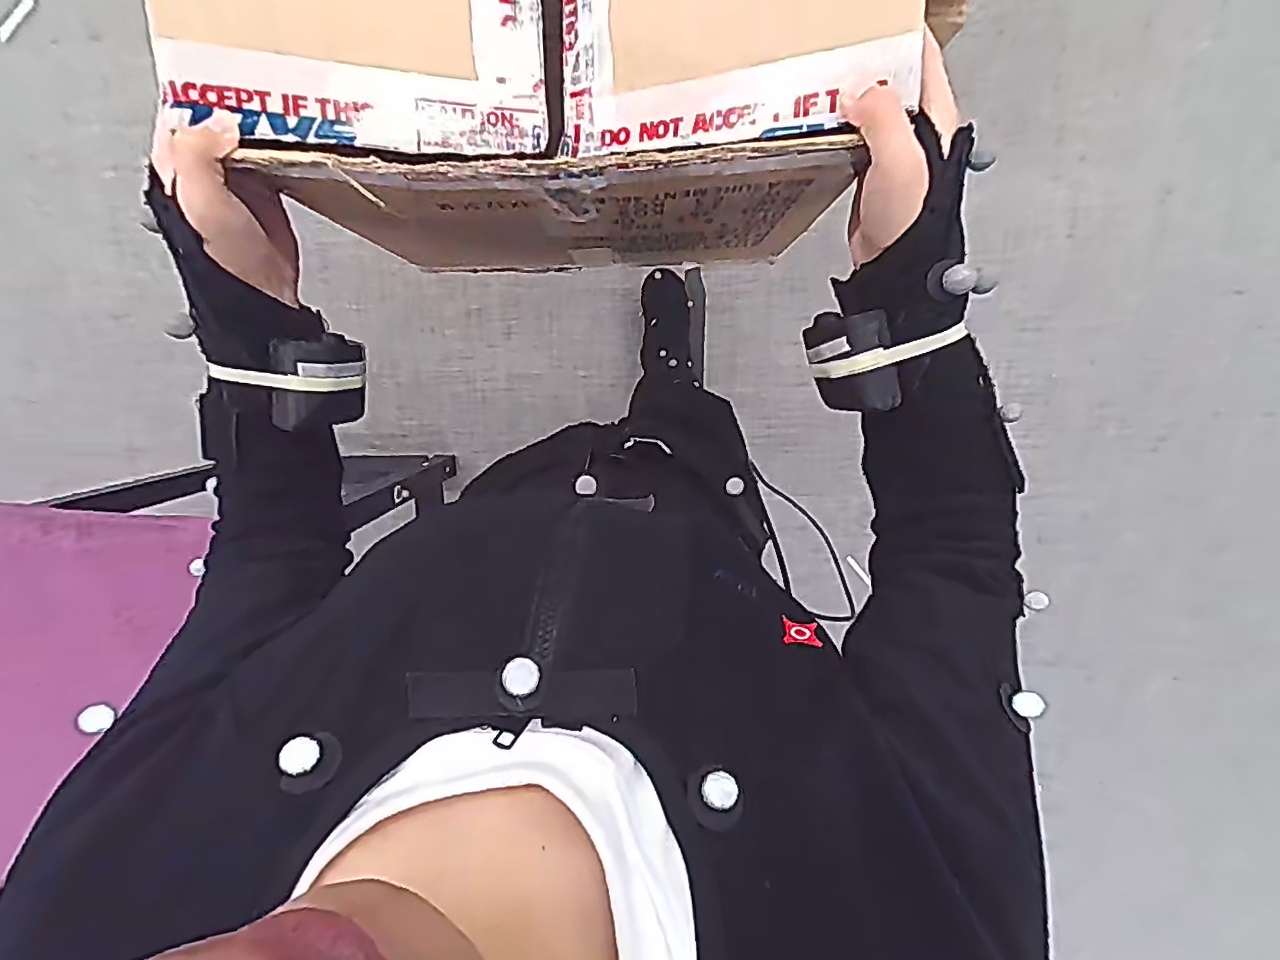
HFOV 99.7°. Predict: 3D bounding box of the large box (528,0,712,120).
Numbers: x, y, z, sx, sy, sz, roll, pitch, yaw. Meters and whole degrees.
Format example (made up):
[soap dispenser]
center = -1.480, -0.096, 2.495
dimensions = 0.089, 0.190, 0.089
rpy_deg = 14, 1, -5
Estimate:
[large box]
center = -0.040, -0.970, 1.020
dimensions = 0.320, 0.320, 0.408
rpy_deg = -2, 102, 2
